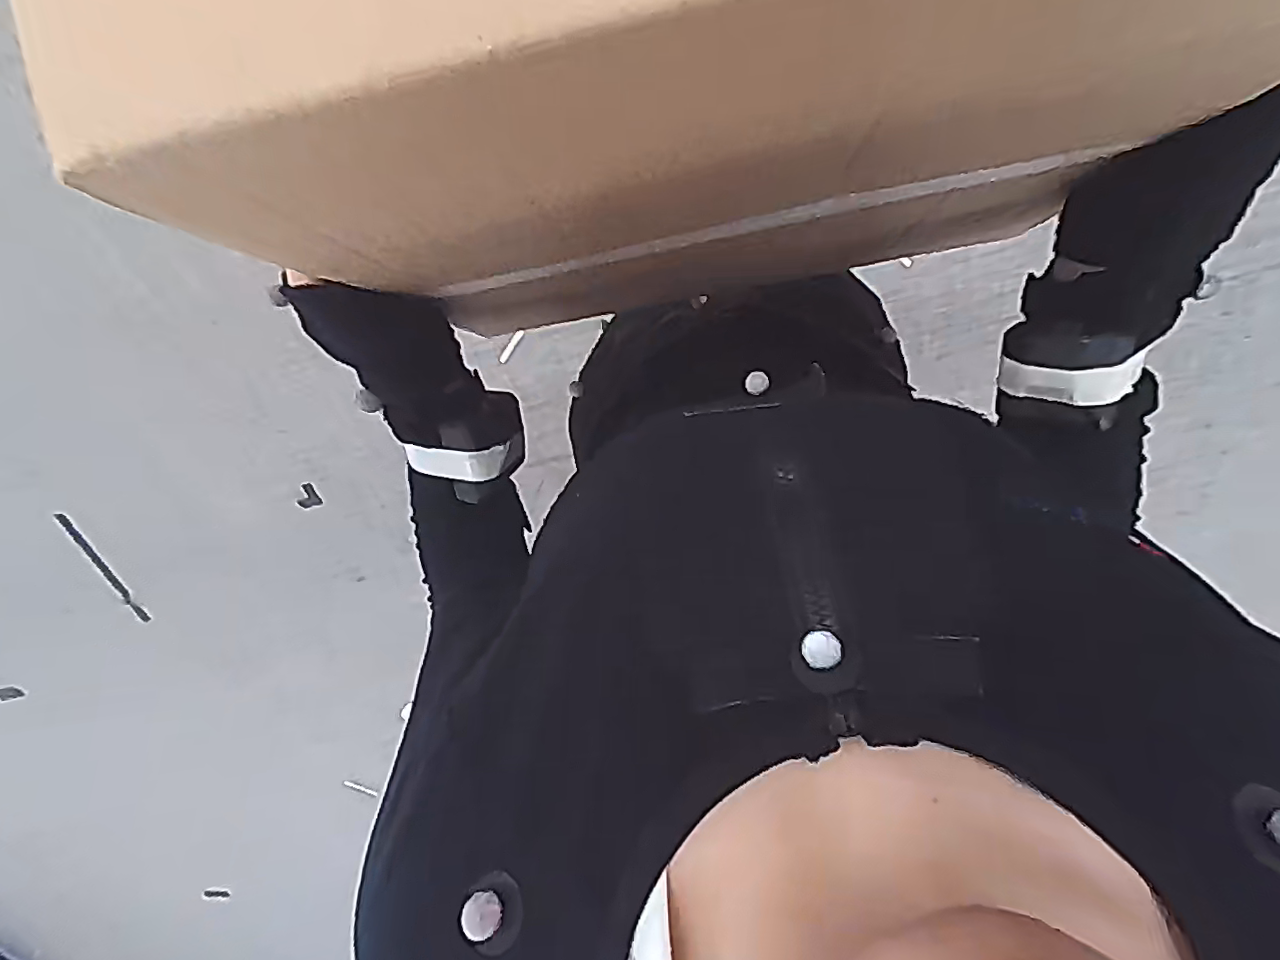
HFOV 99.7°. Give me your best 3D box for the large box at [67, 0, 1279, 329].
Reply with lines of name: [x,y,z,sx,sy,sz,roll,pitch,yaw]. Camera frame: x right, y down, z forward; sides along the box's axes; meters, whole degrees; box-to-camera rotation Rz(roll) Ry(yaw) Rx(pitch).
large box: [0.030,-0.286,0.262,0.408,0.320,0.320,-9,96,7]
